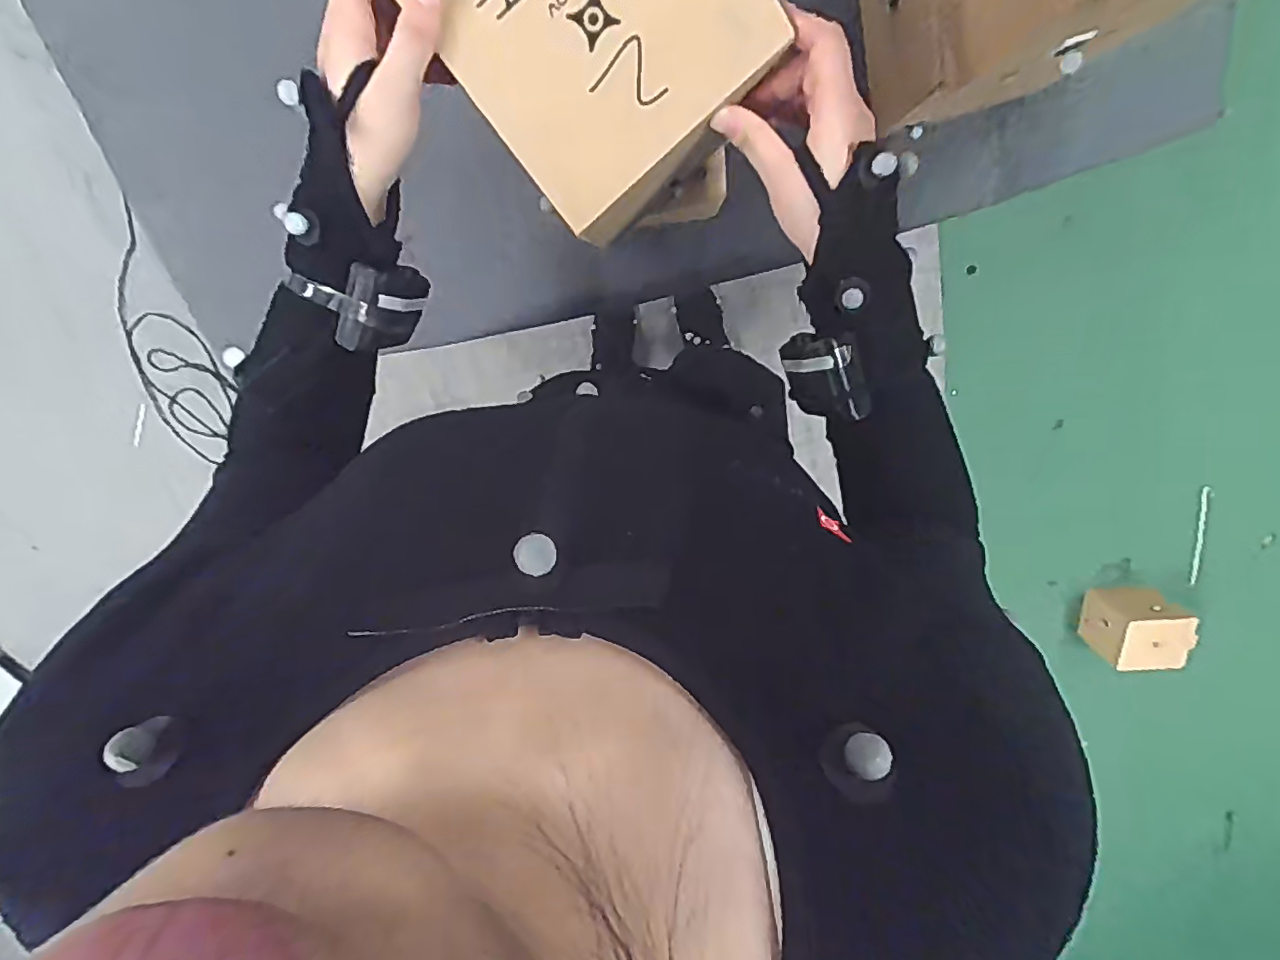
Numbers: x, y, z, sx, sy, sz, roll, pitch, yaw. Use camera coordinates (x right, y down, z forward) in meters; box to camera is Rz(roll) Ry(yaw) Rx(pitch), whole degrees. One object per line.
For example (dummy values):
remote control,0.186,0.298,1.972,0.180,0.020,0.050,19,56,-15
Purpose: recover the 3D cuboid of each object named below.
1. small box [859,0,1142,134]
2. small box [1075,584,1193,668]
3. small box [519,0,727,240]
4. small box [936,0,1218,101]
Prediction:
small box,0.306,-0.435,0.478,0.168,0.176,0.179,-12,107,8
small box,1.396,0.414,1.544,0.179,0.176,0.168,-5,111,5
small box,-0.007,-0.346,0.533,0.168,0.176,0.179,-4,109,5
small box,0.295,-0.376,0.327,0.168,0.176,0.179,-16,108,11
